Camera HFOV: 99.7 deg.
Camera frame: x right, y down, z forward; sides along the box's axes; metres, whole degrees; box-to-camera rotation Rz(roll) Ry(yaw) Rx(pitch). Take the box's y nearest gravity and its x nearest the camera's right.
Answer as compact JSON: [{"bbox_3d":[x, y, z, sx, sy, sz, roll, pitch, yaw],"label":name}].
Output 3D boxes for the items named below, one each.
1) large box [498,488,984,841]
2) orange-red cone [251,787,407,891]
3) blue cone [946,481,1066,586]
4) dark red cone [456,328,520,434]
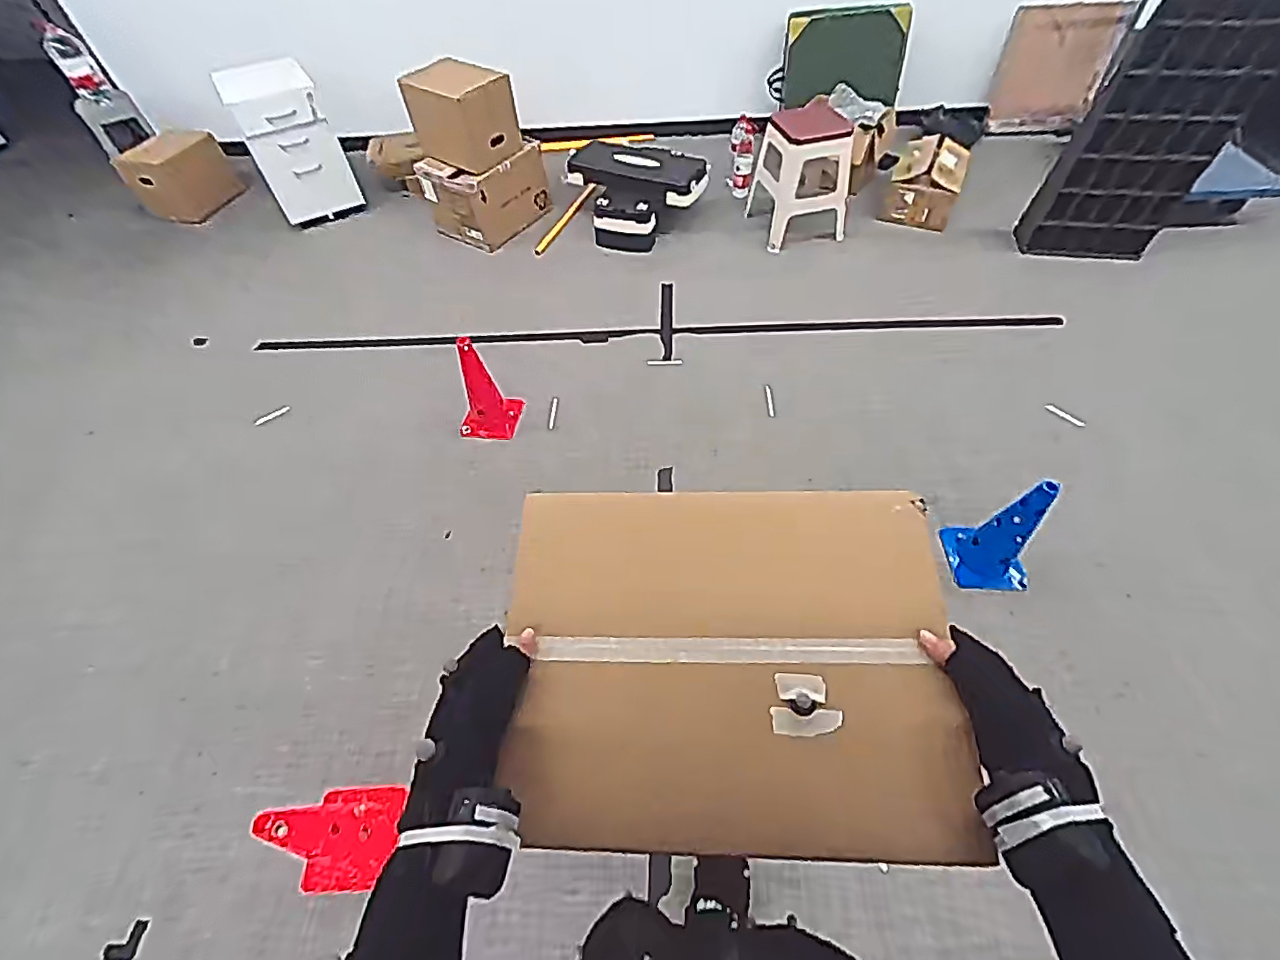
[{"bbox_3d":[0.086,0.215,0.636,0.408,0.320,0.320,-1,65,4],"label":"large box"},{"bbox_3d":[-0.651,0.713,1.091,0.198,0.360,0.199,-3,55,2],"label":"orange-red cone"},{"bbox_3d":[1.001,0.125,1.448,0.192,0.380,0.193,3,54,4],"label":"blue cone"},{"bbox_3d":[-0.553,-0.345,1.842,0.201,0.394,0.202,5,54,5],"label":"dark red cone"}]
